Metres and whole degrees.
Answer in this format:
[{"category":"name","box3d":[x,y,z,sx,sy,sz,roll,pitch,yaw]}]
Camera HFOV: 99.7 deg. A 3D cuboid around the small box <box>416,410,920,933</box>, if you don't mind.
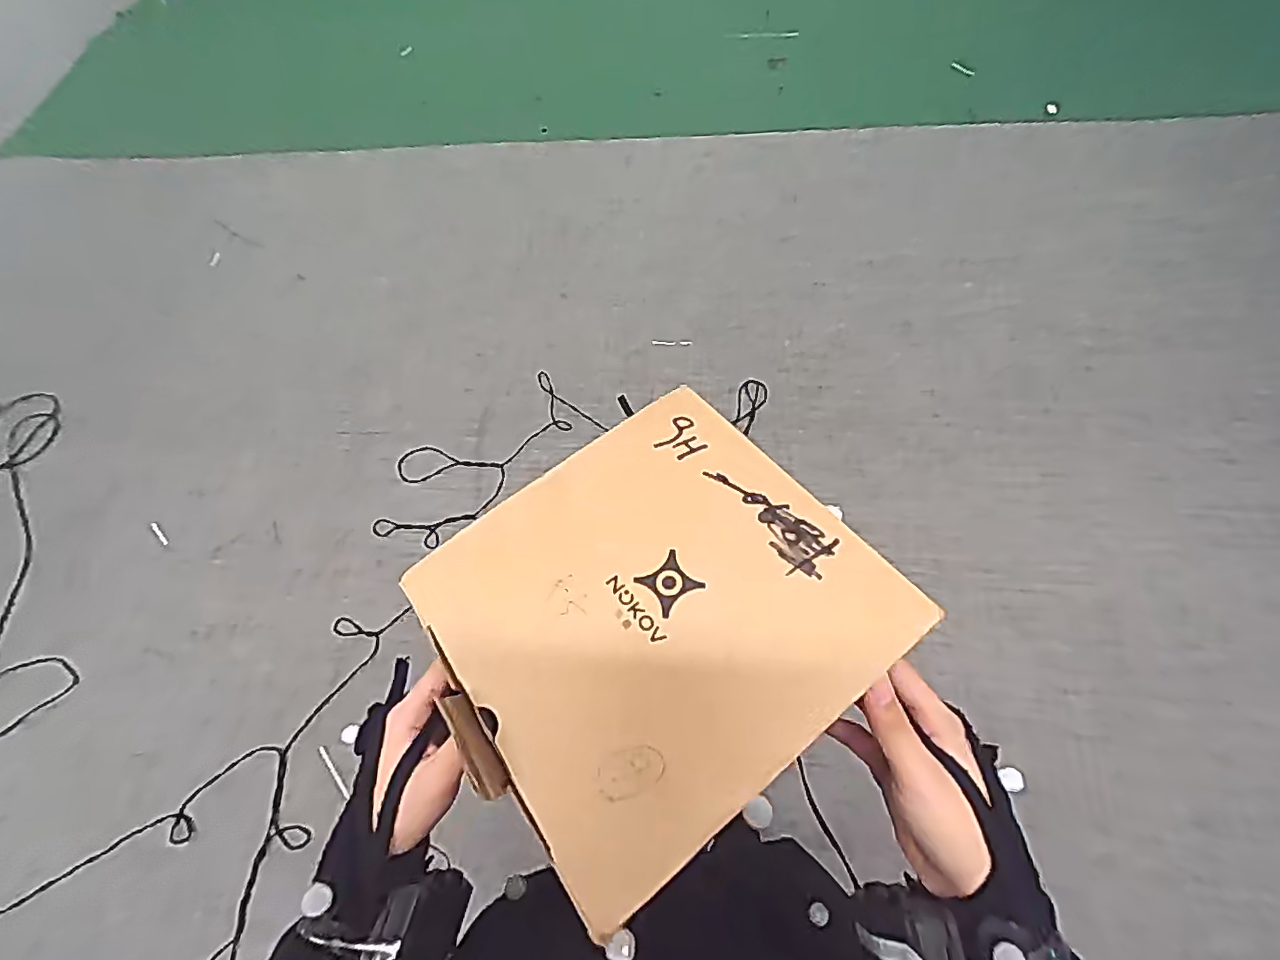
[{"category":"small box","box3d":[0.014,0.101,0.313,0.179,0.176,0.168,-36,62,-14]}]
